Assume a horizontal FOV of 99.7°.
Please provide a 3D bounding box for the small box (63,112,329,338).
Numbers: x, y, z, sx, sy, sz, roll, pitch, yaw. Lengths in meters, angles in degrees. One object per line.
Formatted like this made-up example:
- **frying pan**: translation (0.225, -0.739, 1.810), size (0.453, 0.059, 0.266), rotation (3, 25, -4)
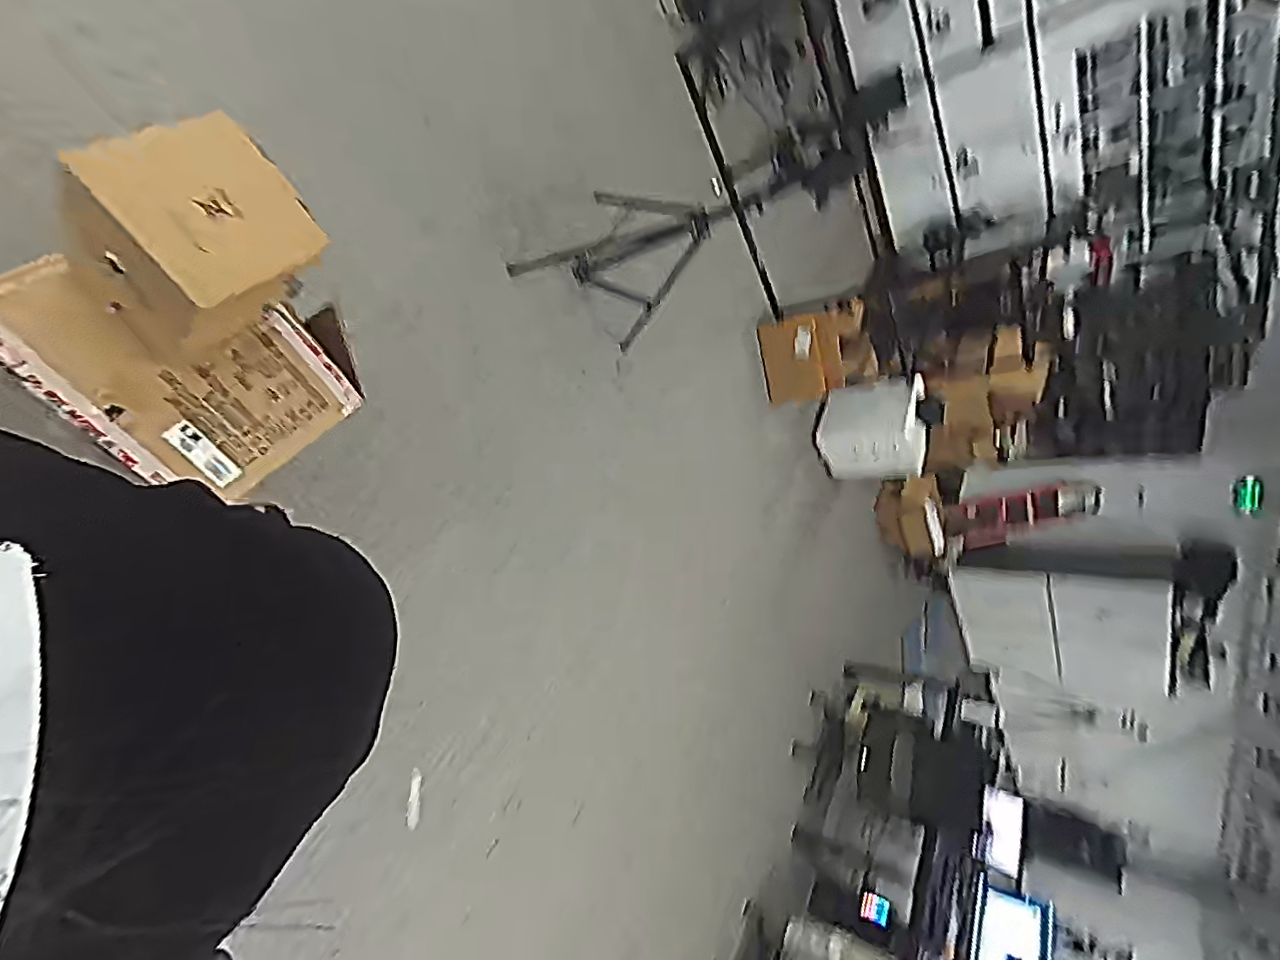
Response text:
- **small box**: translation (-0.529, -0.297, 0.650), size (0.179, 0.176, 0.168), rotation (-52, 122, -34)

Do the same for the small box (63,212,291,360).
- **small box**: translation (-0.648, -0.292, 0.761), size (0.179, 0.176, 0.168), rotation (-52, 123, -35)
